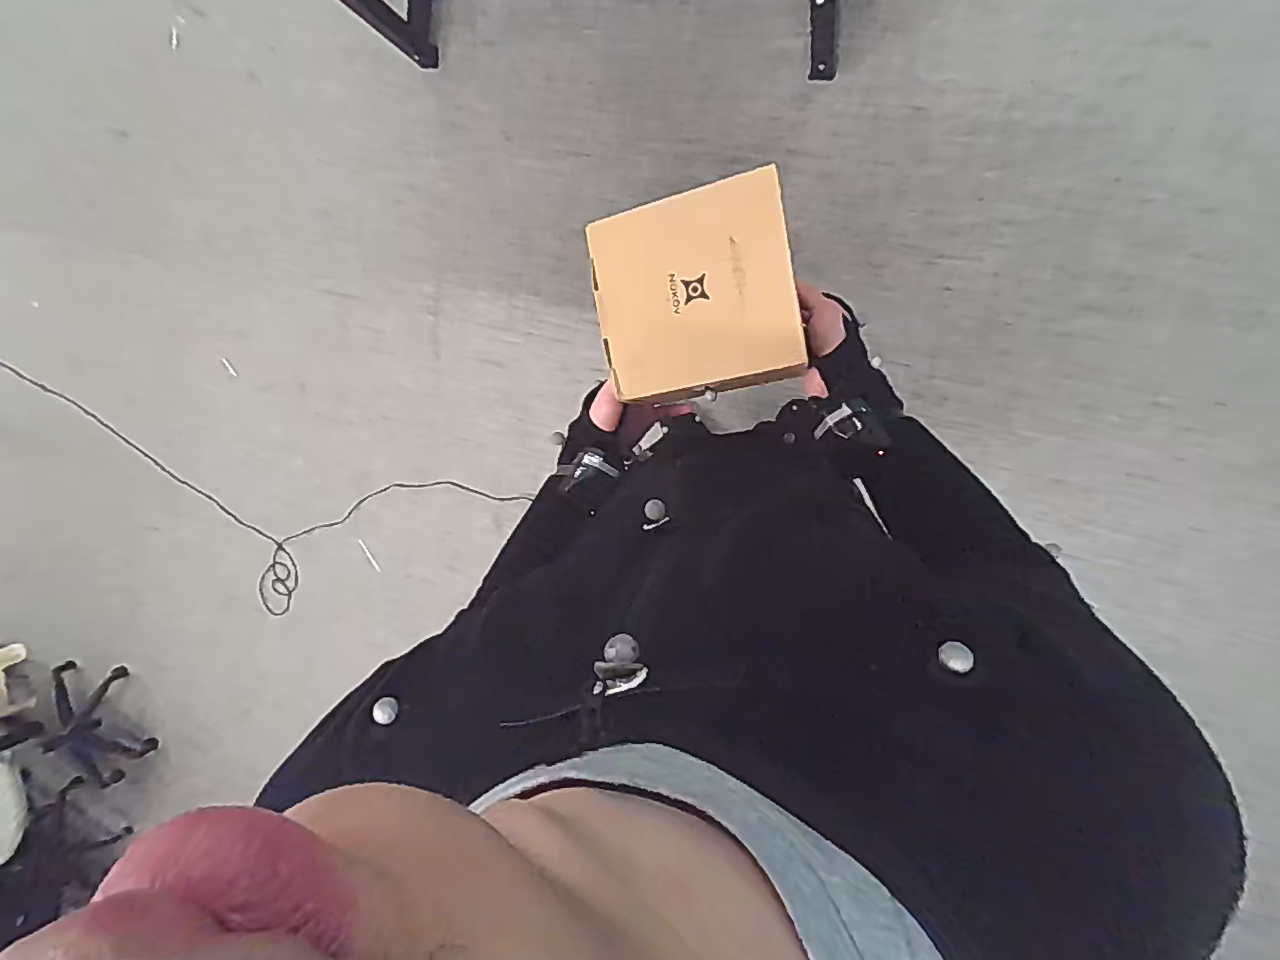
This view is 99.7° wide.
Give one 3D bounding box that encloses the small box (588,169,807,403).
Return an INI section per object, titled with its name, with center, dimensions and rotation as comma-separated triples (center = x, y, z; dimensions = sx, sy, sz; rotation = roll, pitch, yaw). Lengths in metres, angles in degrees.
[small box]
center = 0.070, -0.174, 0.553
dimensions = 0.179, 0.176, 0.168
rotation = -10, 95, 17
